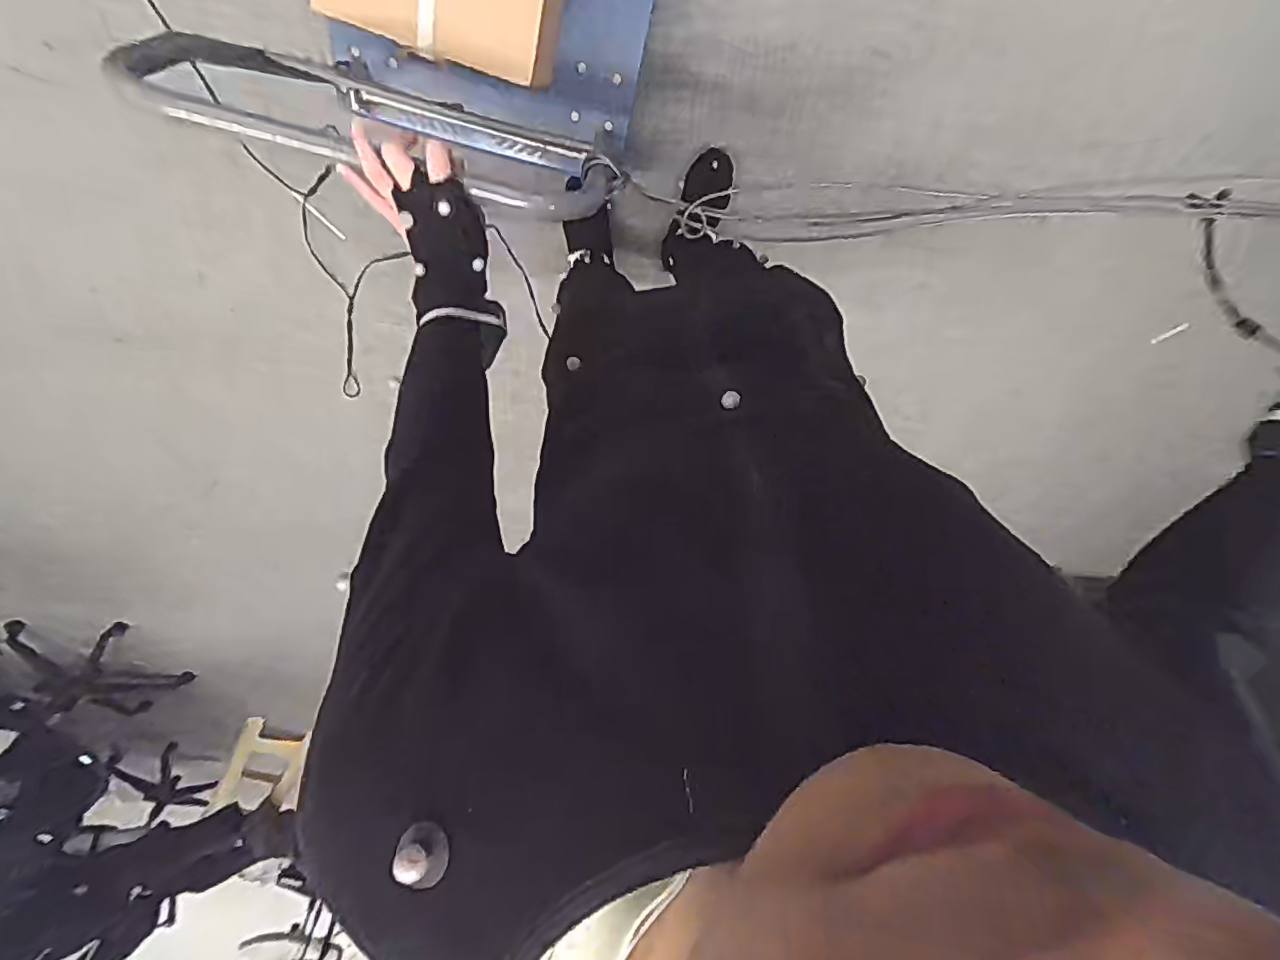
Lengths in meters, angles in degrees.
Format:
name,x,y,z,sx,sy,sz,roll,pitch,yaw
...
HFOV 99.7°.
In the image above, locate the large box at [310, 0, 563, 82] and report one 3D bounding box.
name,x,y,z,sx,sy,sz,roll,pitch,yaw
large box,-0.262,-0.863,0.786,0.320,0.320,0.408,12,125,-12
